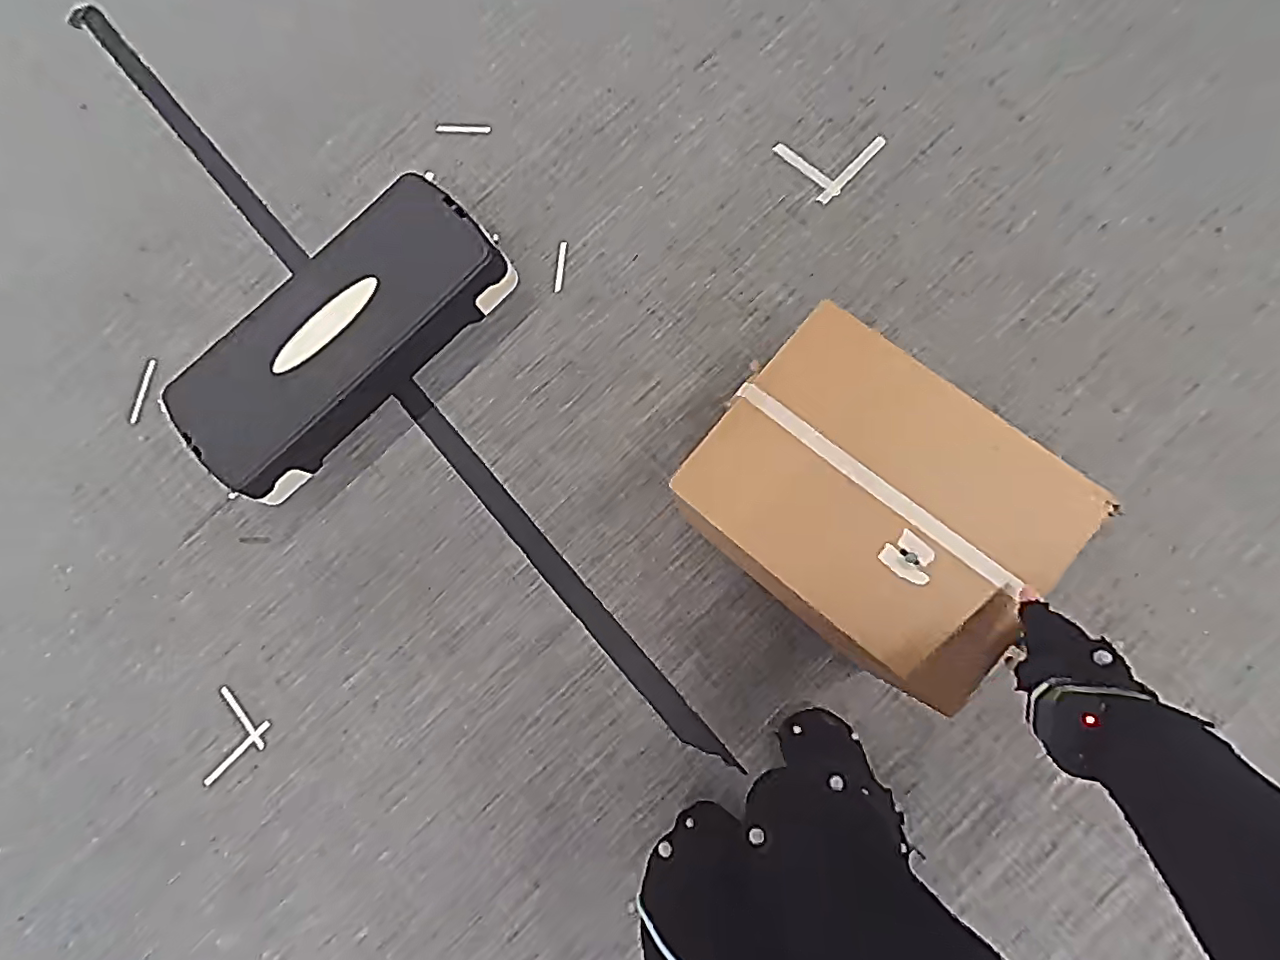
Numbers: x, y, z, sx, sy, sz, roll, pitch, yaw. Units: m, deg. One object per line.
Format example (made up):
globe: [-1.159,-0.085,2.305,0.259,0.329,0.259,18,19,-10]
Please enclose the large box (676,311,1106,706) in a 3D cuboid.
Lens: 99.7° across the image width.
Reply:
large box: [0.301,0.041,0.789,0.408,0.320,0.320,40,87,11]
